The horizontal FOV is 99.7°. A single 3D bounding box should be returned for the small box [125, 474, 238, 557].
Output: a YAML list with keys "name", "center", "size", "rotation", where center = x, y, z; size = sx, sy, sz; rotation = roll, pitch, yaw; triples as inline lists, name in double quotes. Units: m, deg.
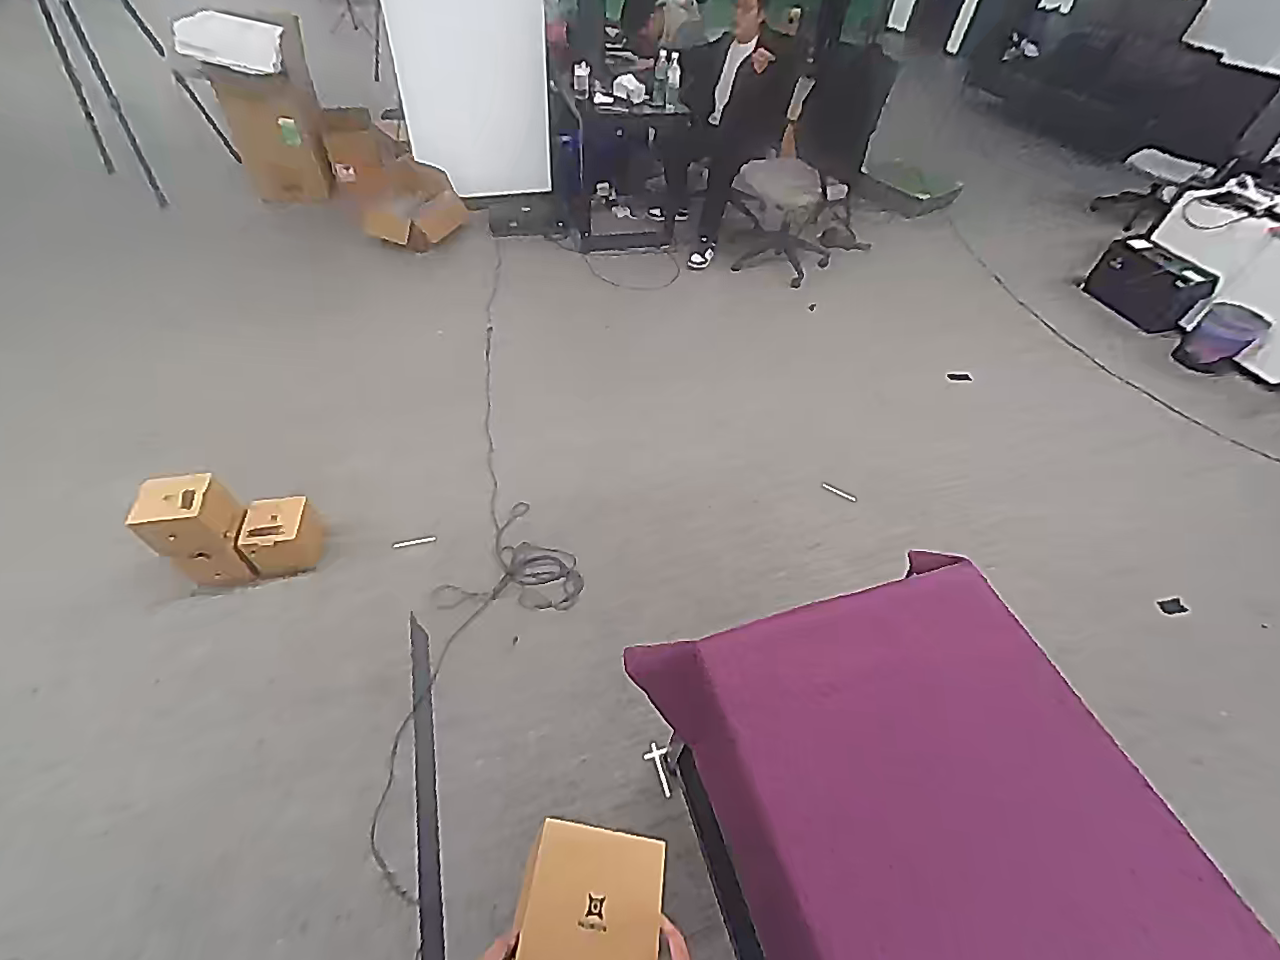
- name: "small box"
  center: [-1.323, 0.105, 1.580]
  size: [0.179, 0.176, 0.168]
  rotation: [-7, 50, -10]

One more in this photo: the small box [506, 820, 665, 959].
- name: "small box"
  center: [-0.074, 0.574, 0.695]
  size: [0.168, 0.176, 0.179]
  rotation: [15, 42, -5]
